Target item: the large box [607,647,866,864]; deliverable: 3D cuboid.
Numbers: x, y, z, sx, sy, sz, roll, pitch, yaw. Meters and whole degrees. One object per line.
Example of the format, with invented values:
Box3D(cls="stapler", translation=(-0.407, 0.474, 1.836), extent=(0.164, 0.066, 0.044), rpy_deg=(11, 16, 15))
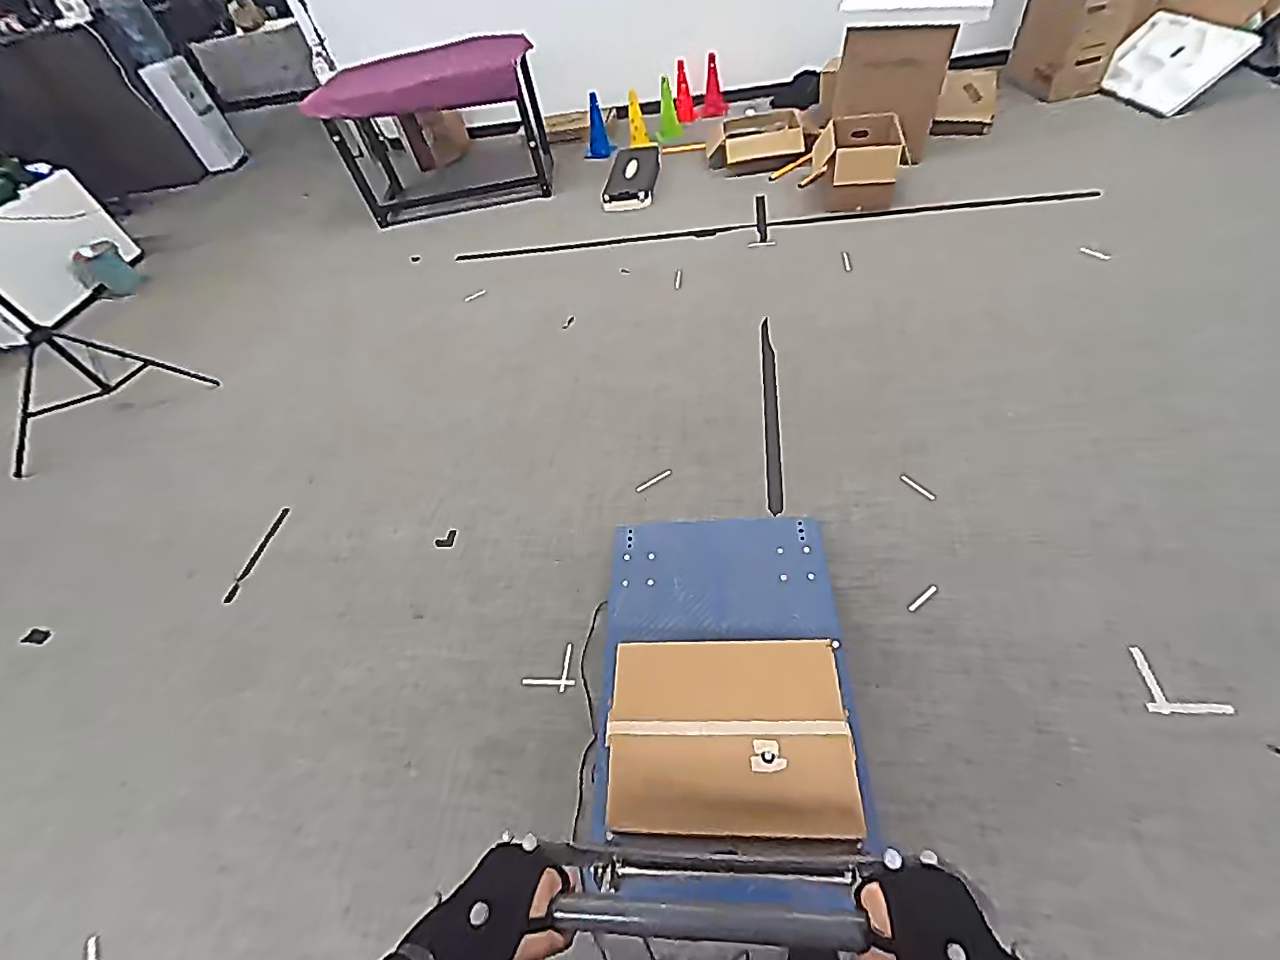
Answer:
Box3D(cls="large box", translation=(0.165, 0.532, 1.032), extent=(0.408, 0.320, 0.320), rpy_deg=(-4, 51, 7))
